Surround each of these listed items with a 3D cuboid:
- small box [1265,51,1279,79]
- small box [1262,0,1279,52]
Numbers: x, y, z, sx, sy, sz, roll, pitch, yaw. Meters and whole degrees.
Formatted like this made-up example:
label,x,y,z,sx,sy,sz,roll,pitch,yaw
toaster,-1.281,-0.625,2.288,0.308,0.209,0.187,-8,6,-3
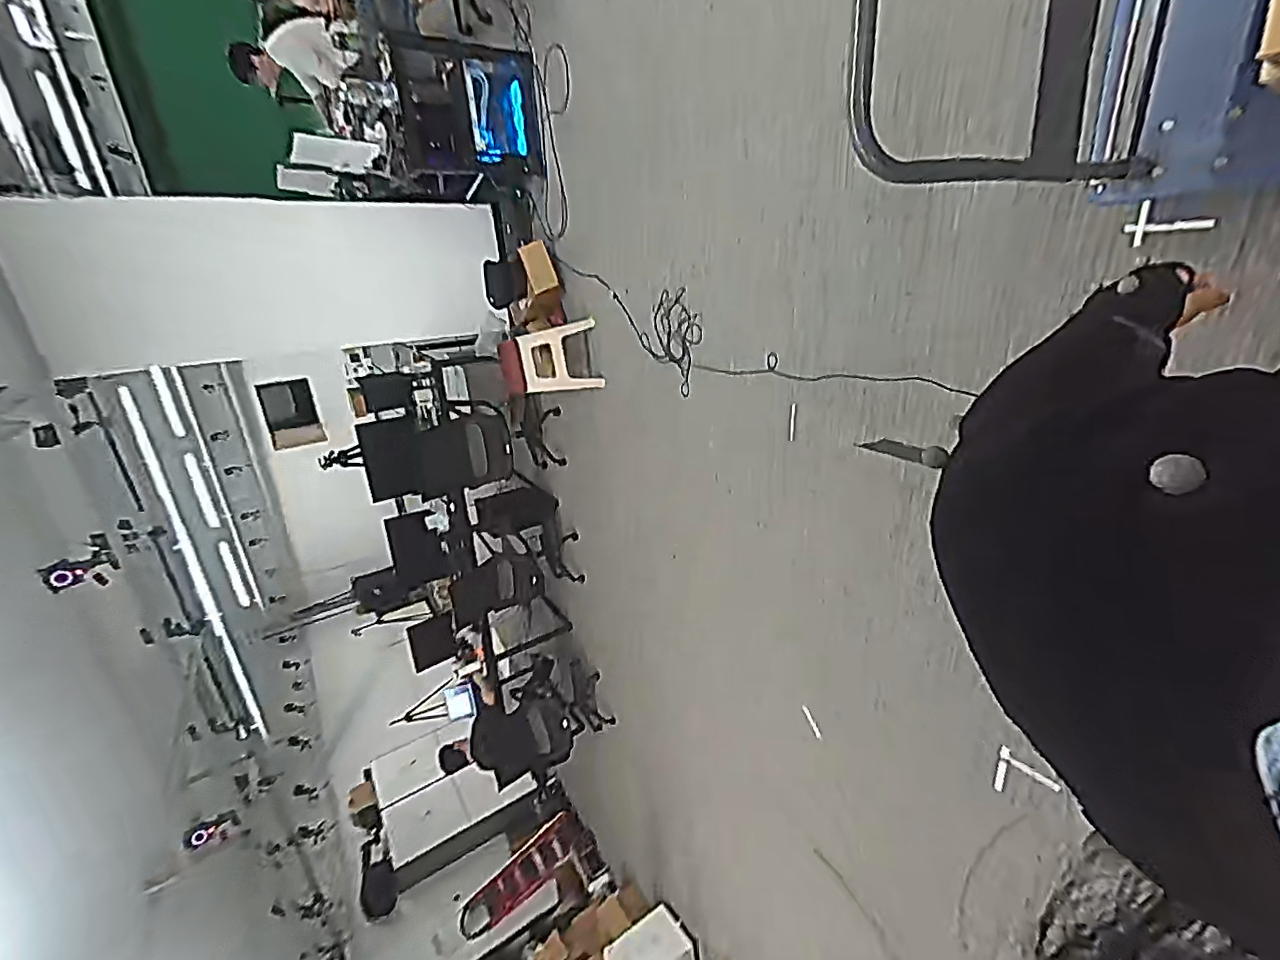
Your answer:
label,x,y,z,sx,sy,sz,roll,pitch,yaw
small box,0.932,-0.615,0.668,0.168,0.176,0.179,20,122,54
small box,0.811,-0.568,0.564,0.168,0.176,0.179,21,123,54
